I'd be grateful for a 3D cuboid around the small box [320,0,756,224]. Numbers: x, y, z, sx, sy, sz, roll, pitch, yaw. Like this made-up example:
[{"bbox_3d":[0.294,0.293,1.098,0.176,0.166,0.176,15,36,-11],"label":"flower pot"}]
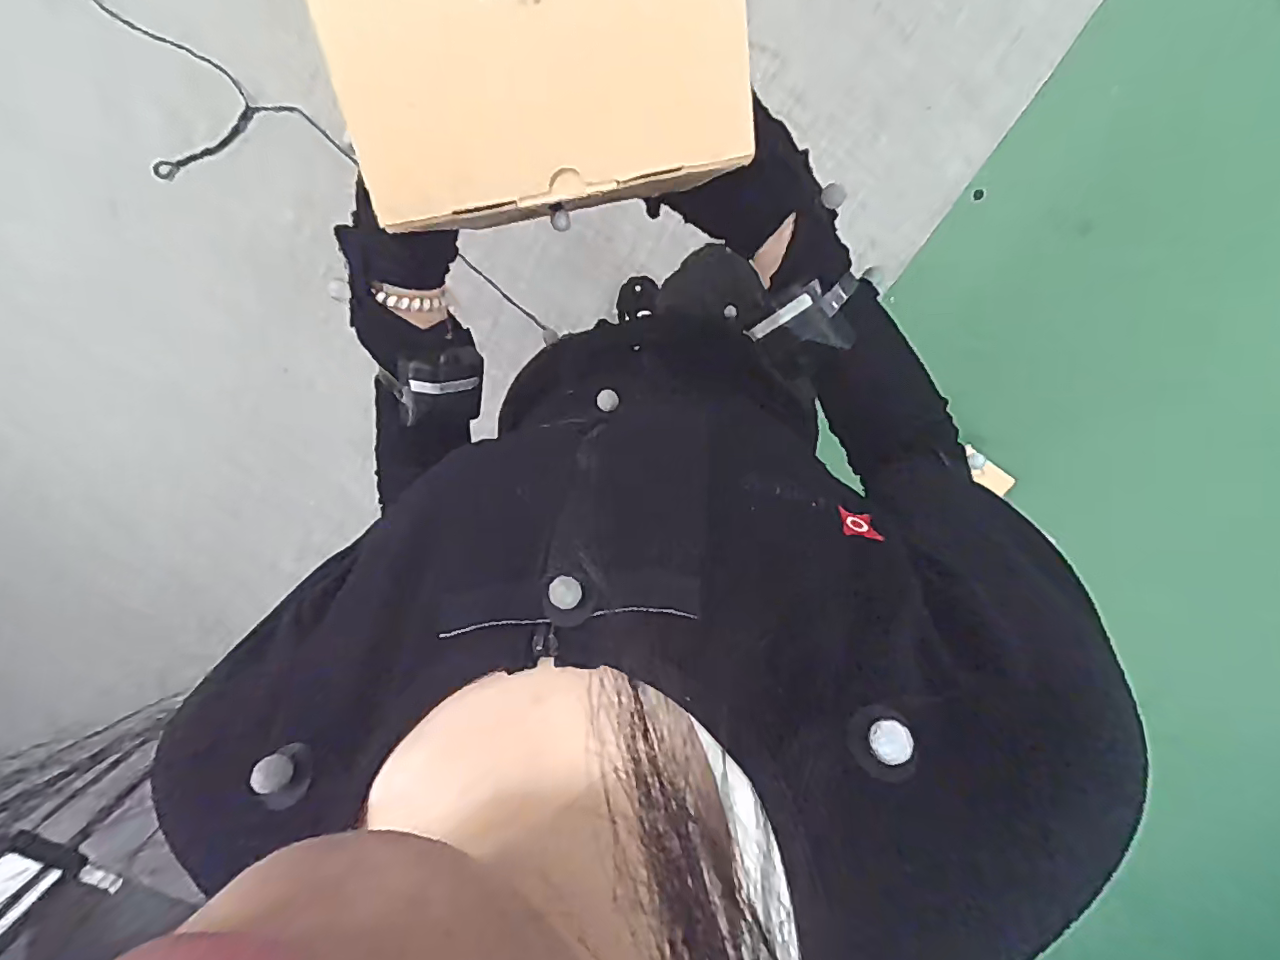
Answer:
[{"bbox_3d":[-0.048,-0.237,0.271,0.168,0.176,0.179,-10,117,1],"label":"small box"}]
